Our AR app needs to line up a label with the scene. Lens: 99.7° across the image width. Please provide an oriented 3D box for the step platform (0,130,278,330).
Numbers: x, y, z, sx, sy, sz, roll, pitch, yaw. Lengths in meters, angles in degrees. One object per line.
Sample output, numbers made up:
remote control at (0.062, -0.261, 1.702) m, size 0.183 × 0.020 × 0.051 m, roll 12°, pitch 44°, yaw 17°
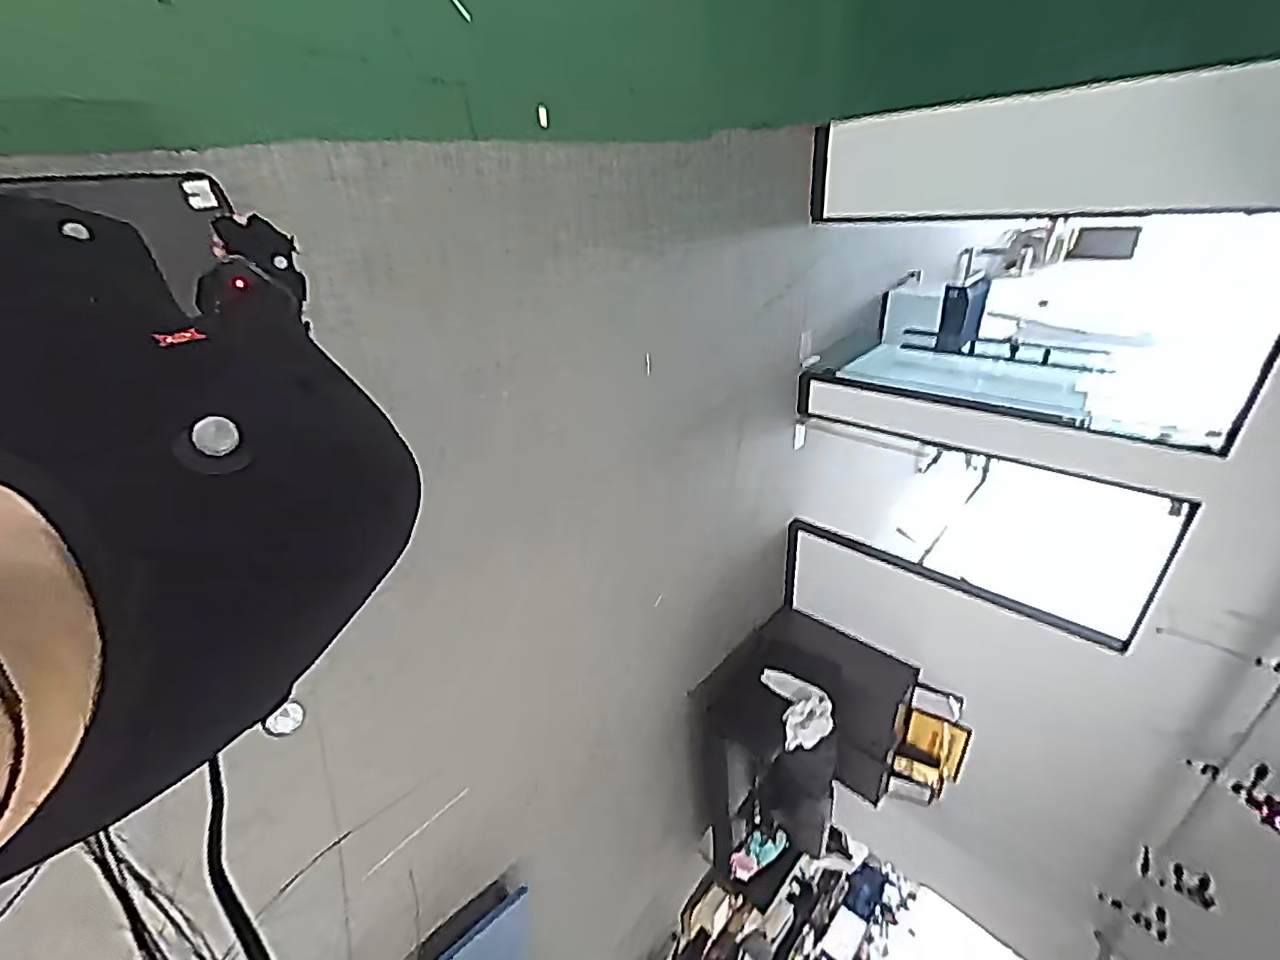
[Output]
step platform at (-1.023, -0.395, 0.884) m, size 0.684 × 0.204 × 0.286 m, roll -29°, pitch 129°, yaw -37°
